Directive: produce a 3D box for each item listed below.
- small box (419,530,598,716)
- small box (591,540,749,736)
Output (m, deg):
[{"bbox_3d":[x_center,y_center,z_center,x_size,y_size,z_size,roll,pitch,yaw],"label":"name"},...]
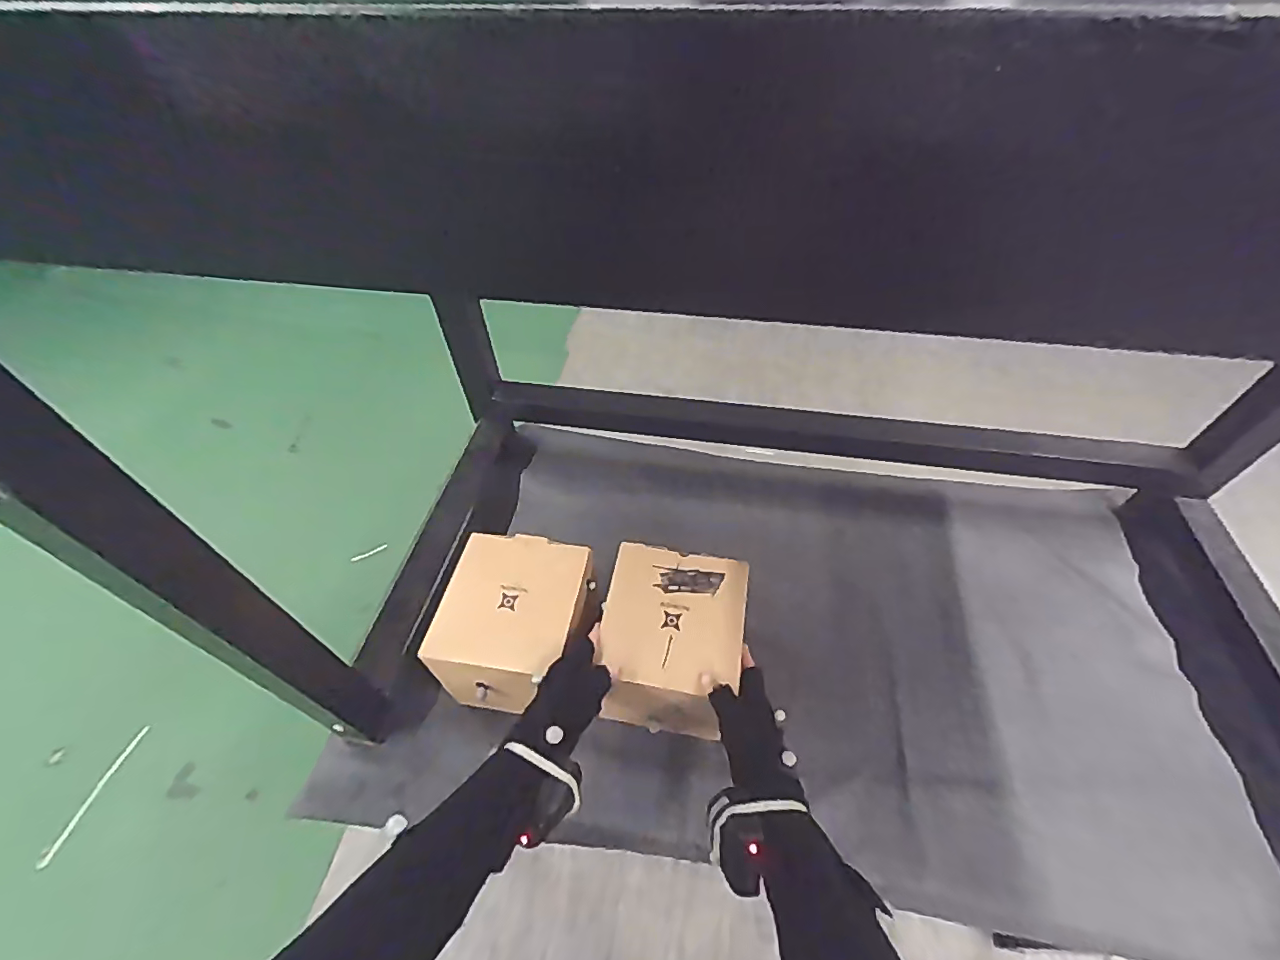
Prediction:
[{"bbox_3d":[-0.155,0.192,0.716,0.168,0.176,0.179,6,49,7],"label":"small box"},{"bbox_3d":[0.042,0.204,0.695,0.168,0.176,0.179,7,52,8],"label":"small box"}]
